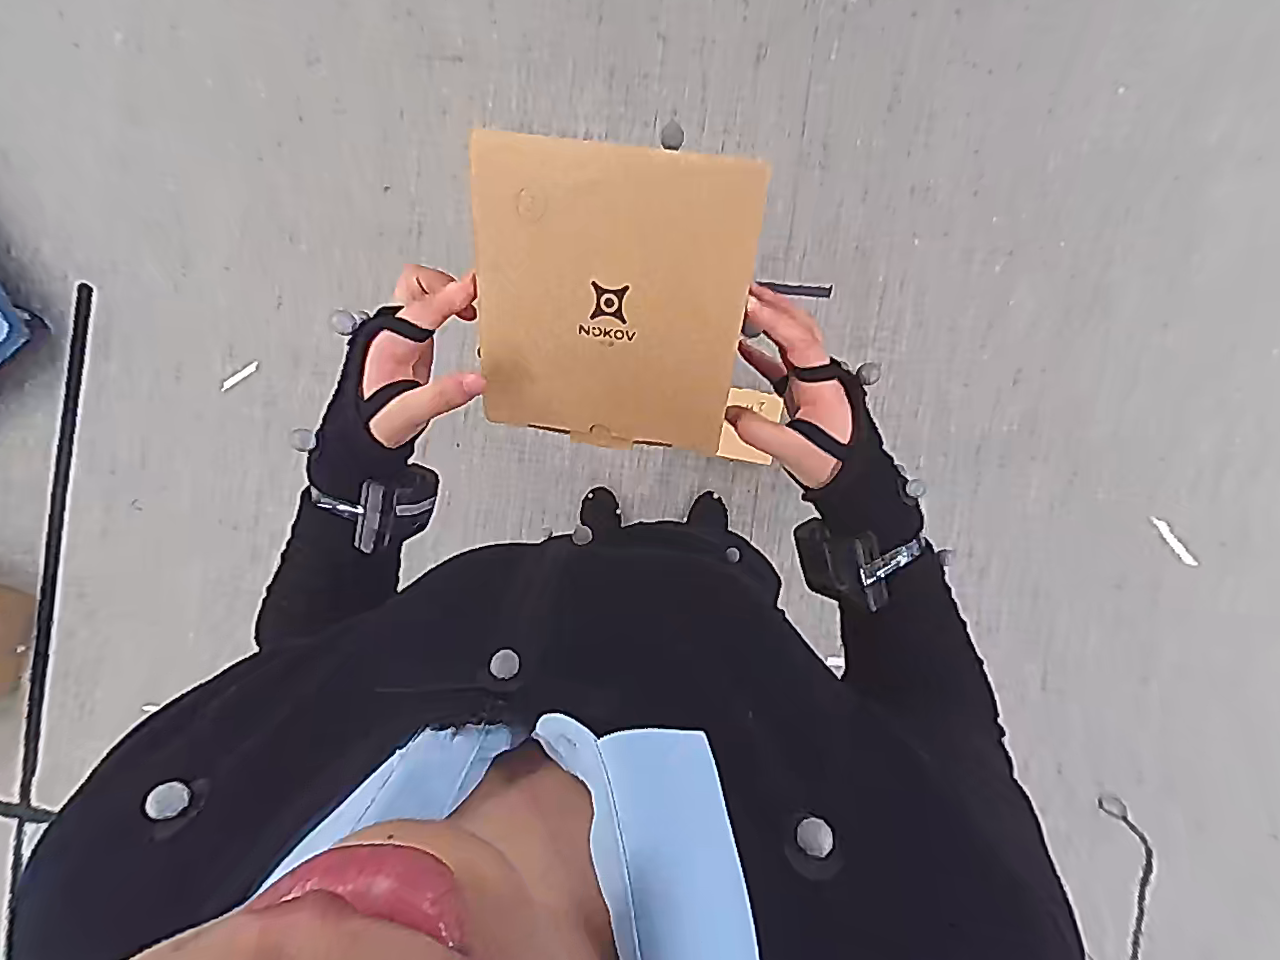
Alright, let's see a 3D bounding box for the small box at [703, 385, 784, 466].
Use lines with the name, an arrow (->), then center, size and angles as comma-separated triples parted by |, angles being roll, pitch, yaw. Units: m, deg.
small box -> 0.260, -0.134, 1.397 | 0.168, 0.176, 0.179 | 11, 91, 3
